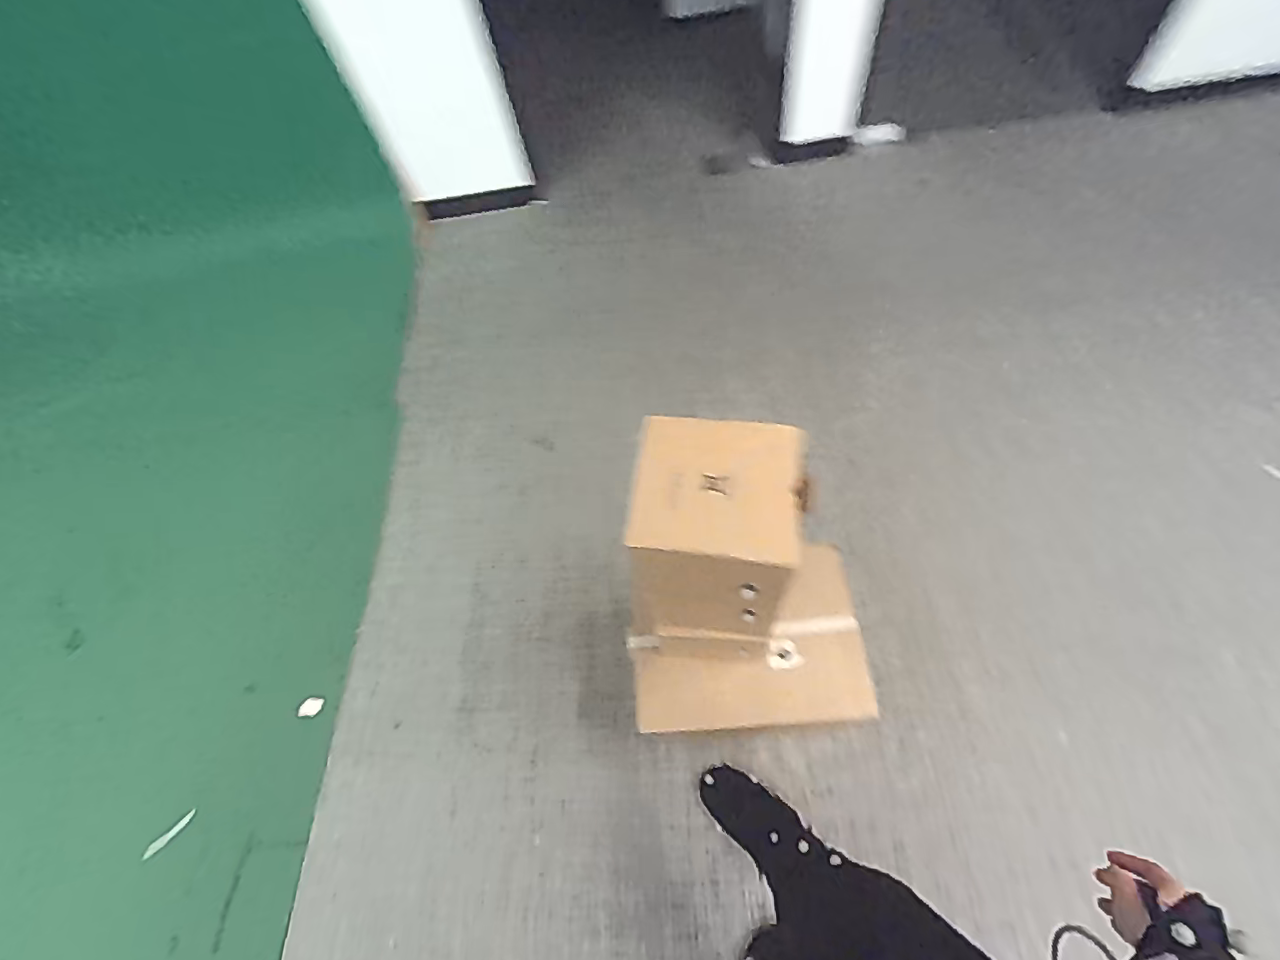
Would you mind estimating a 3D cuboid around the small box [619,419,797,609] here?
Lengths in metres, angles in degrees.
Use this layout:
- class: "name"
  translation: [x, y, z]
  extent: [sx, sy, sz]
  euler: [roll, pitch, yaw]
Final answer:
- class: "small box"
  translation: [0.085, 0.046, 0.643]
  extent: [0.179, 0.176, 0.168]
  euler: [4, 60, 10]

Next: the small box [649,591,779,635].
- class: "small box"
  translation: [0.106, 0.119, 0.787]
  extent: [0.179, 0.176, 0.168]
  euler: [4, 61, 9]

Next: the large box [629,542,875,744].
- class: "large box"
  translation: [0.202, 0.348, 1.114]
  extent: [0.408, 0.320, 0.320]
  euler: [-7, 62, 4]
